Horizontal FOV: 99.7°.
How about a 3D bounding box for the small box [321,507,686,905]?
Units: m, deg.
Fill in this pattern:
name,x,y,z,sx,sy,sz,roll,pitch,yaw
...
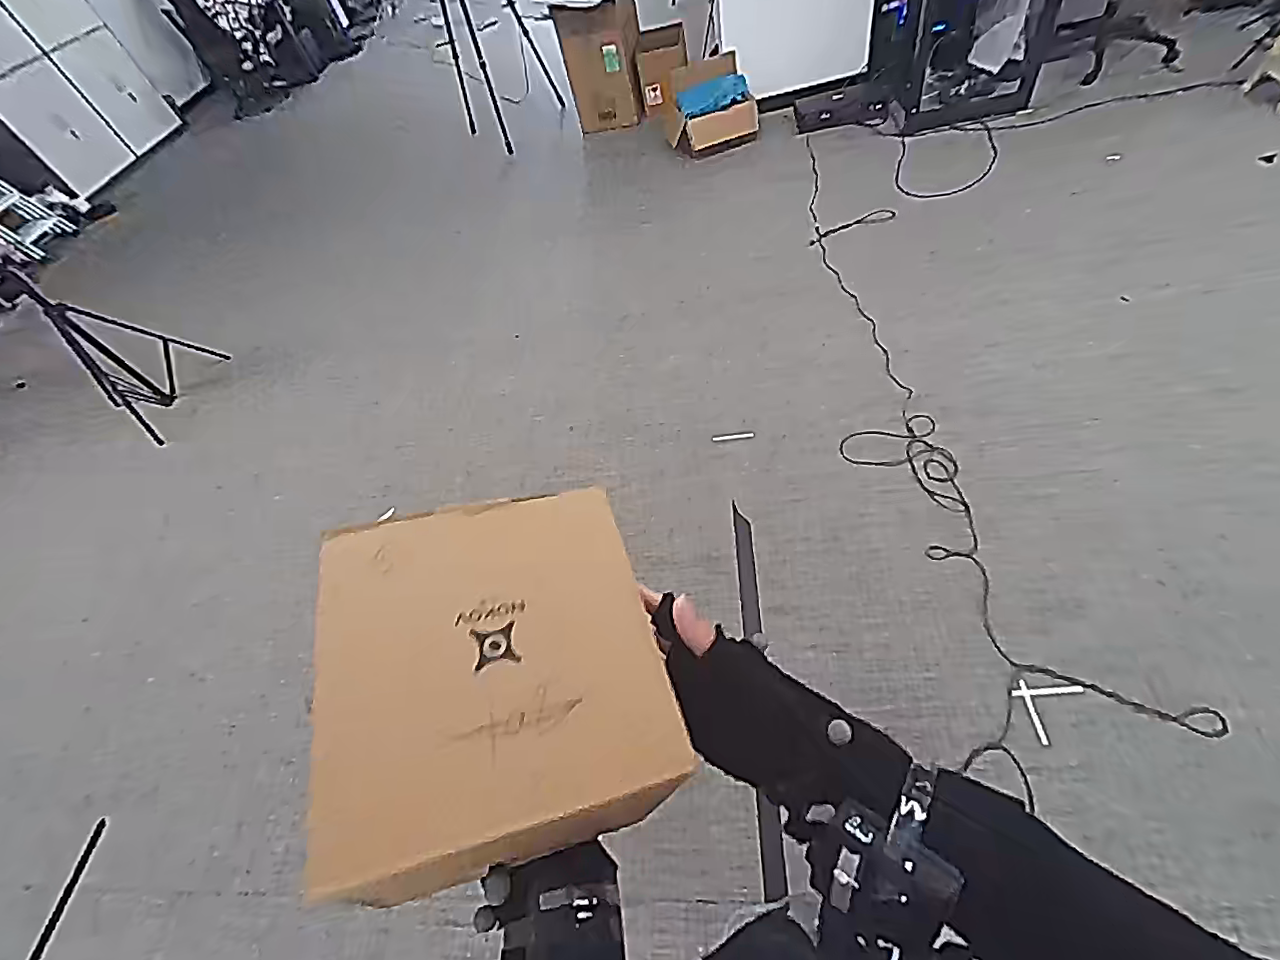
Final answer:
name,x,y,z,sx,sy,sz,roll,pitch,yaw
small box,-0.089,0.145,0.353,0.168,0.176,0.179,-10,54,-17
